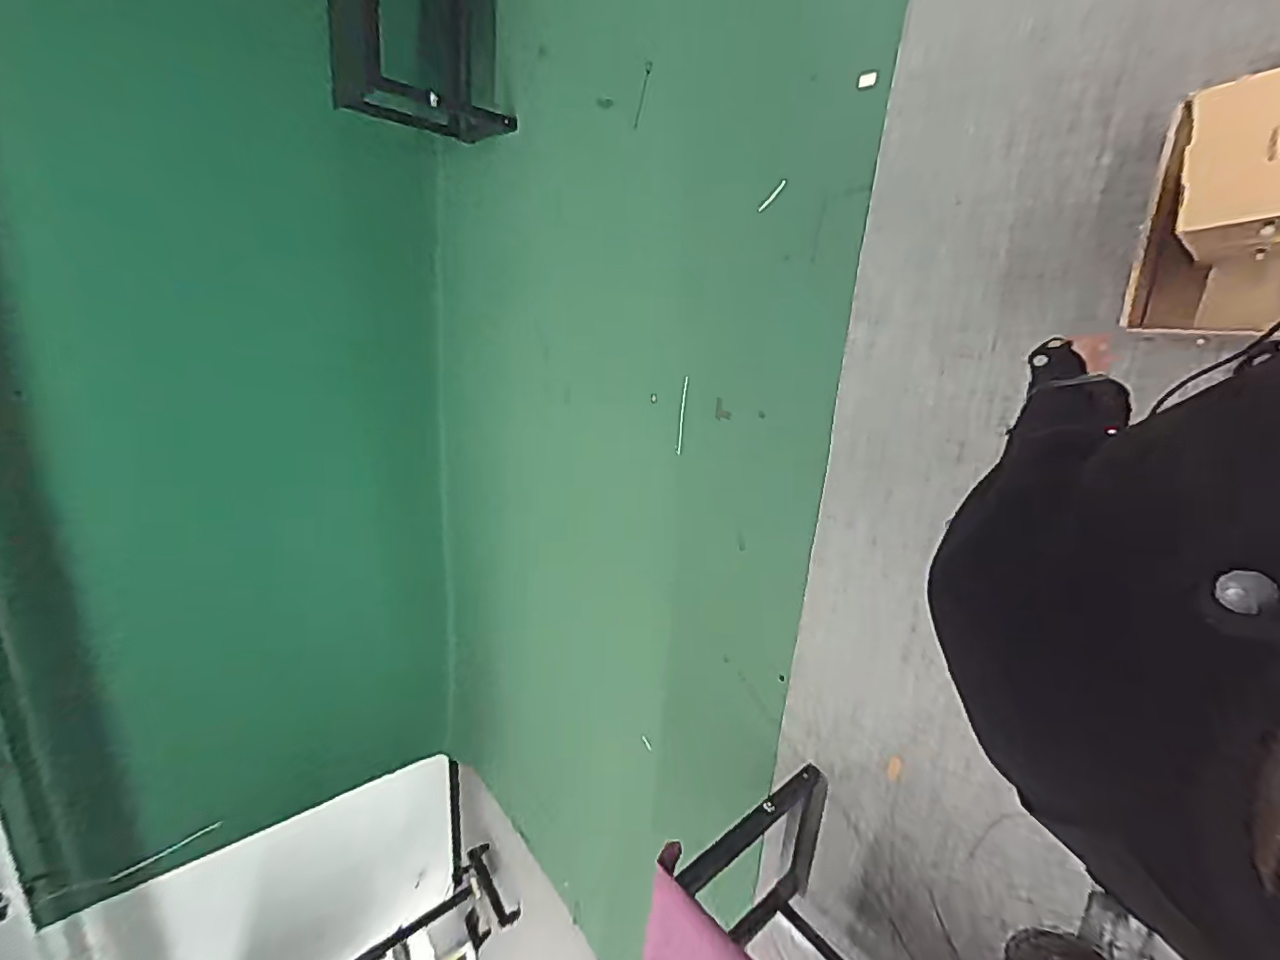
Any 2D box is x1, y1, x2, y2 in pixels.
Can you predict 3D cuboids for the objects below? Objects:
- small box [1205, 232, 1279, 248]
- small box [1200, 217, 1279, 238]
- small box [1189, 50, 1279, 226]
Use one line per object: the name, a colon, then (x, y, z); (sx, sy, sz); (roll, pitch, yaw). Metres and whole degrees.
small box: (1.058, -0.481, 0.872); (0.179, 0.176, 0.168); (13, 109, 46)
small box: (0.940, -0.446, 0.763); (0.168, 0.176, 0.179); (19, 114, 46)
small box: (0.815, -0.423, 0.662); (0.179, 0.176, 0.168); (9, 107, 49)
